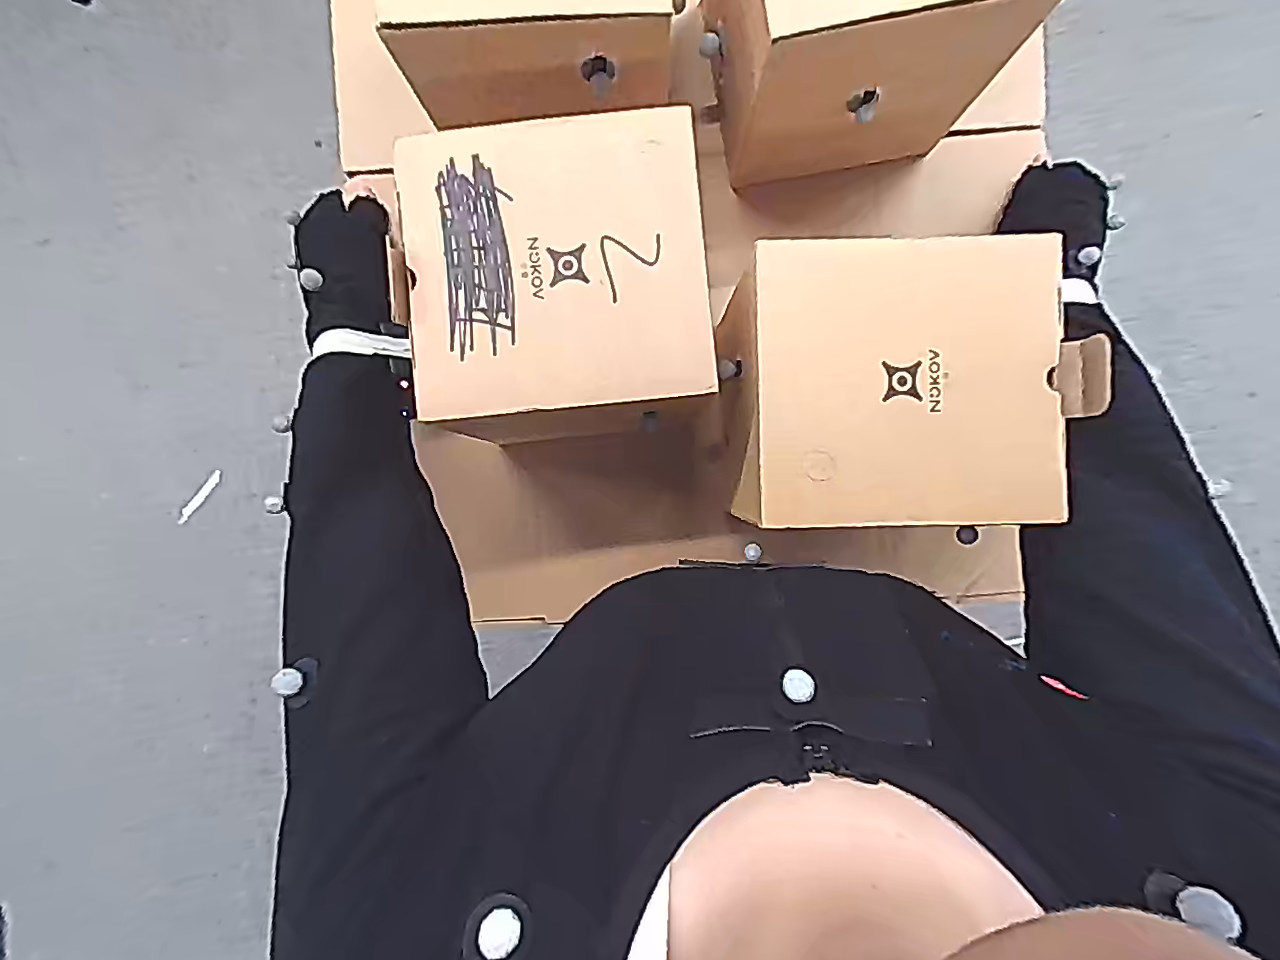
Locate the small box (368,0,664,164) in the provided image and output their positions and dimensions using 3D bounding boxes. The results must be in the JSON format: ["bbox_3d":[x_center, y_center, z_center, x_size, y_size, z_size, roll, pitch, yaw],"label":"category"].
[{"bbox_3d":[-0.074,-0.358,0.394,0.179,0.176,0.168,-2,91,2],"label":"small box"}]
